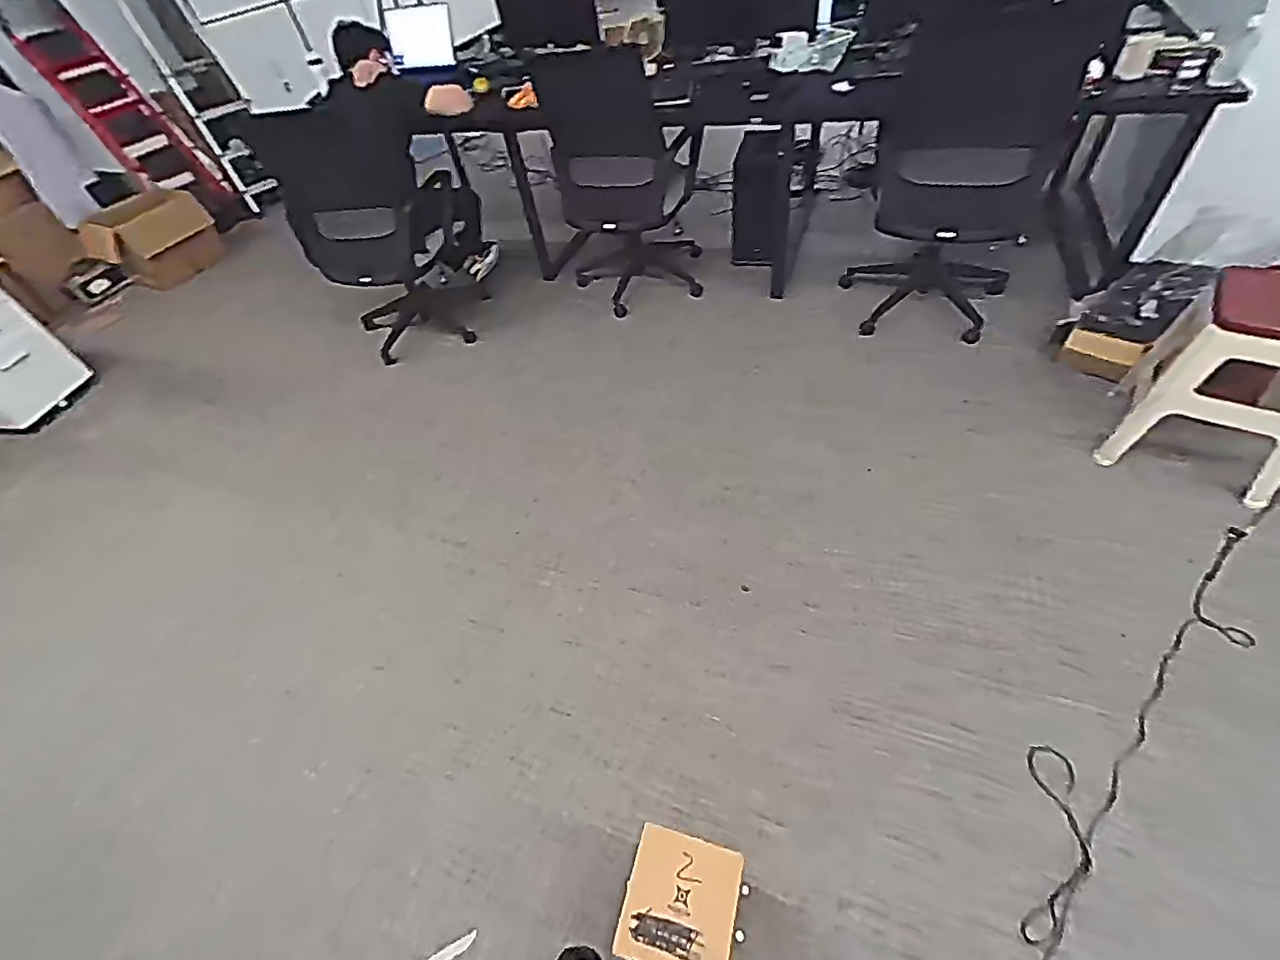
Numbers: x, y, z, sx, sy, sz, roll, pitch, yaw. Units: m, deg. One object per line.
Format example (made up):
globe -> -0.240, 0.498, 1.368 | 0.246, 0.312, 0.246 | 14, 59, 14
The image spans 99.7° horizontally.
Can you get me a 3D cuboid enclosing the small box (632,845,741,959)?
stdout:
small box -> 0.092, 0.797, 0.983 | 0.168, 0.176, 0.179 | 5, 50, 14
